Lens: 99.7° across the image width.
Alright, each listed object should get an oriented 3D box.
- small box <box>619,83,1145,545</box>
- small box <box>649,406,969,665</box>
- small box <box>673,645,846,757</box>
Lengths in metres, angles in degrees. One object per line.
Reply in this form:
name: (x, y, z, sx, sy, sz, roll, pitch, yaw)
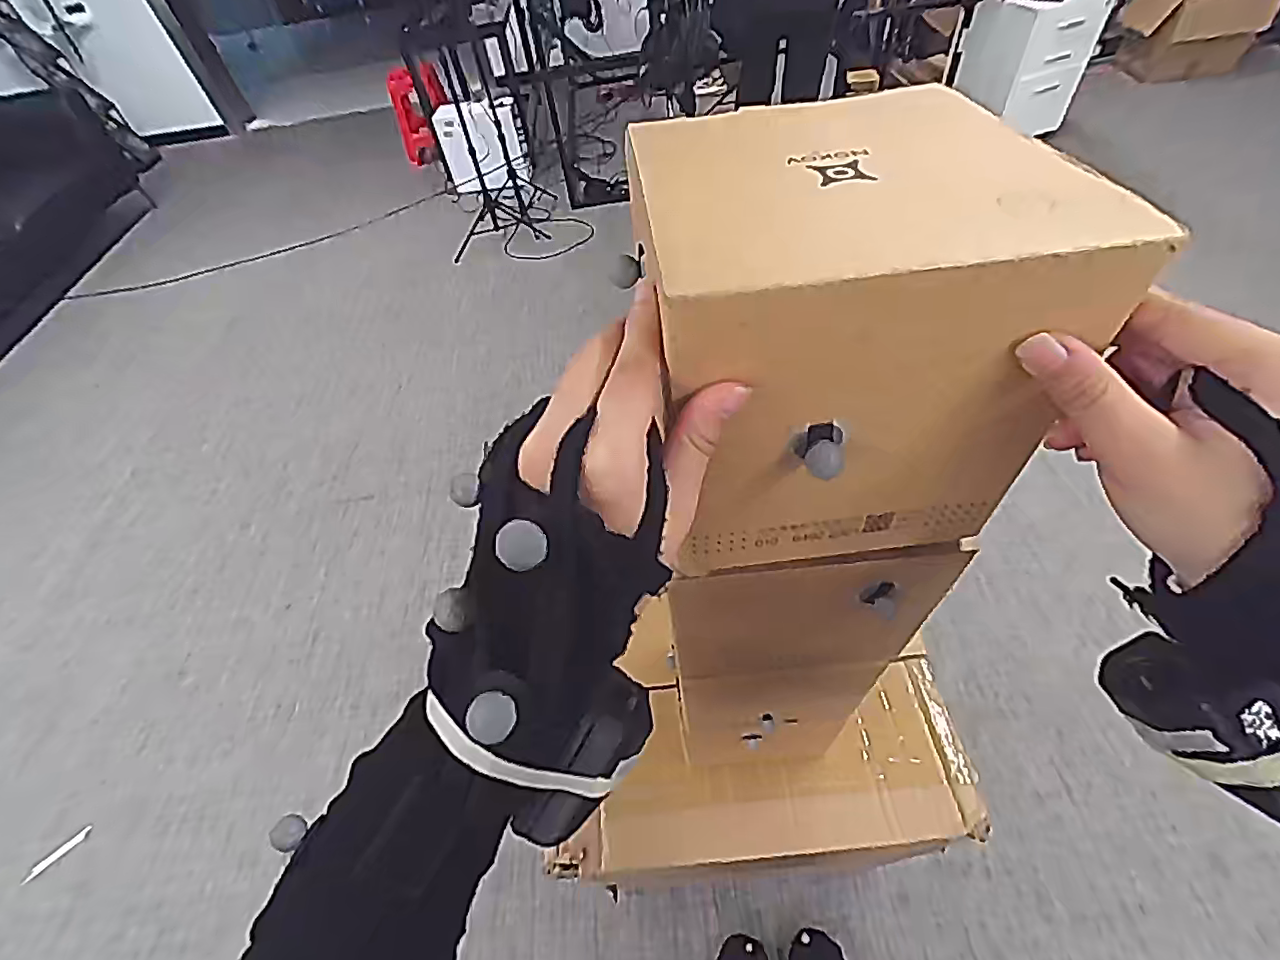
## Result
small box: (0.084, -0.079, 0.289, 0.168, 0.176, 0.179, -8, 48, 0)
small box: (0.103, 0.029, 0.415, 0.179, 0.176, 0.168, -7, 51, 3)
small box: (0.134, 0.235, 0.671, 0.179, 0.176, 0.168, -6, 51, 3)
